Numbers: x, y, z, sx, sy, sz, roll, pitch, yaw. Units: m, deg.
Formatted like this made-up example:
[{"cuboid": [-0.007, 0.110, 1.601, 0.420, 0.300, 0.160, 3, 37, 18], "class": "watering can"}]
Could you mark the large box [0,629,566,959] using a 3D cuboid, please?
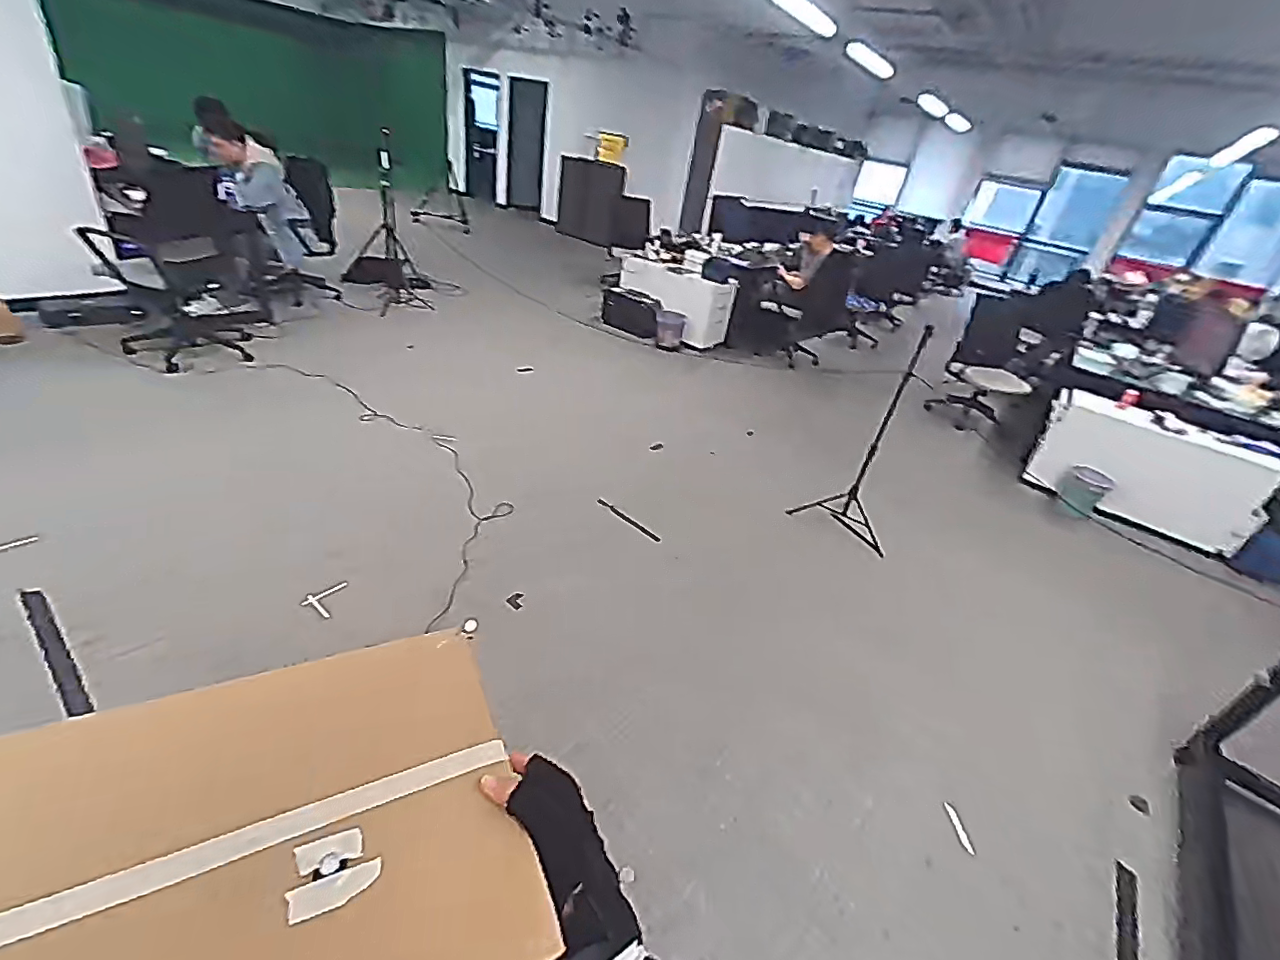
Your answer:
[{"cuboid": [-0.319, 0.396, 0.487, 0.408, 0.320, 0.320, -7, 37, -28], "class": "large box"}]
